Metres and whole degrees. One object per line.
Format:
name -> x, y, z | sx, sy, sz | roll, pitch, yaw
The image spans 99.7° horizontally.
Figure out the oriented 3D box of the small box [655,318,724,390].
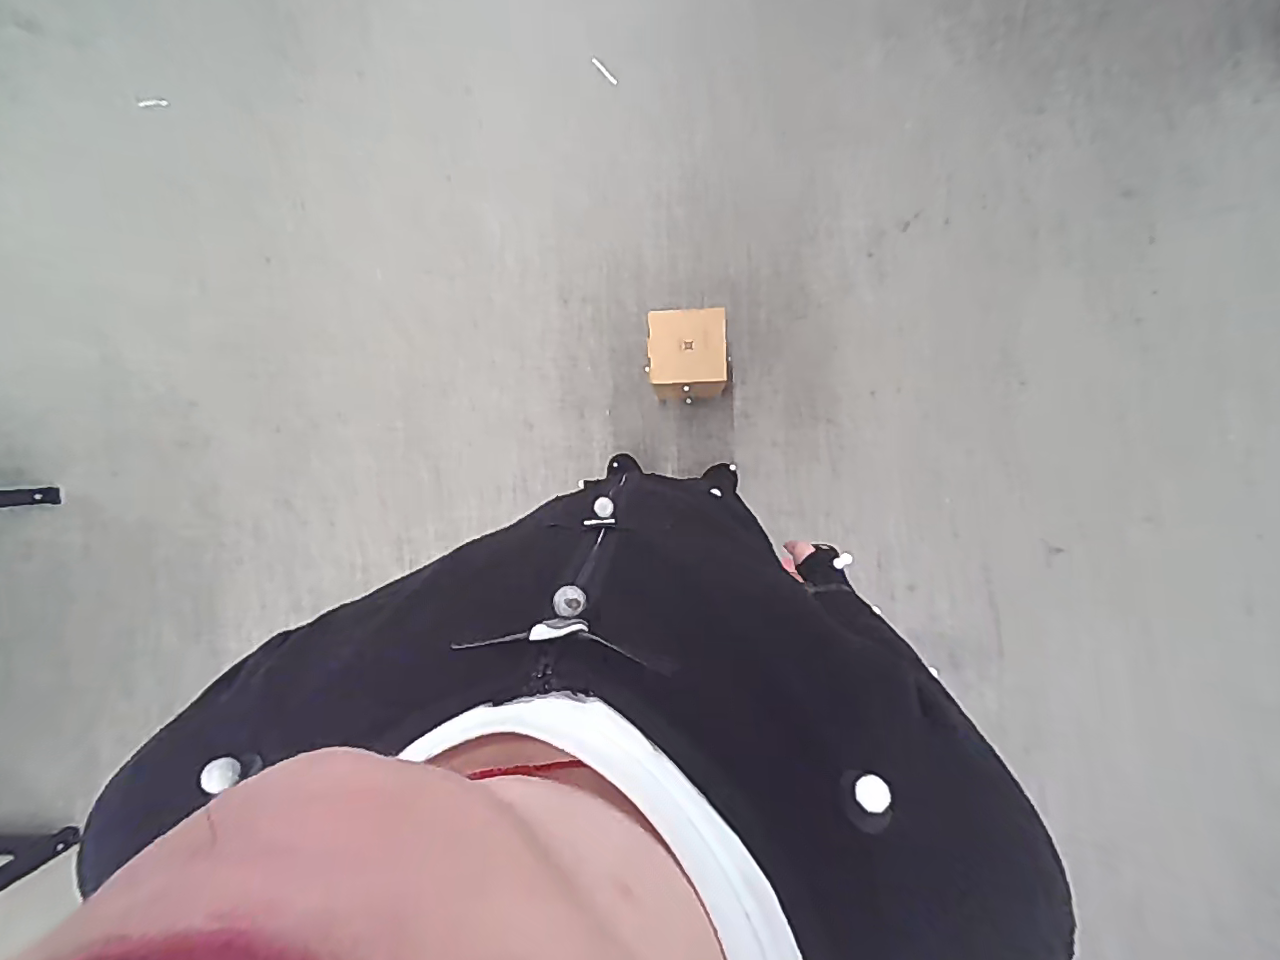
small box -> 0.131, -0.335, 1.459 | 0.179, 0.176, 0.168 | 0, 92, 5
